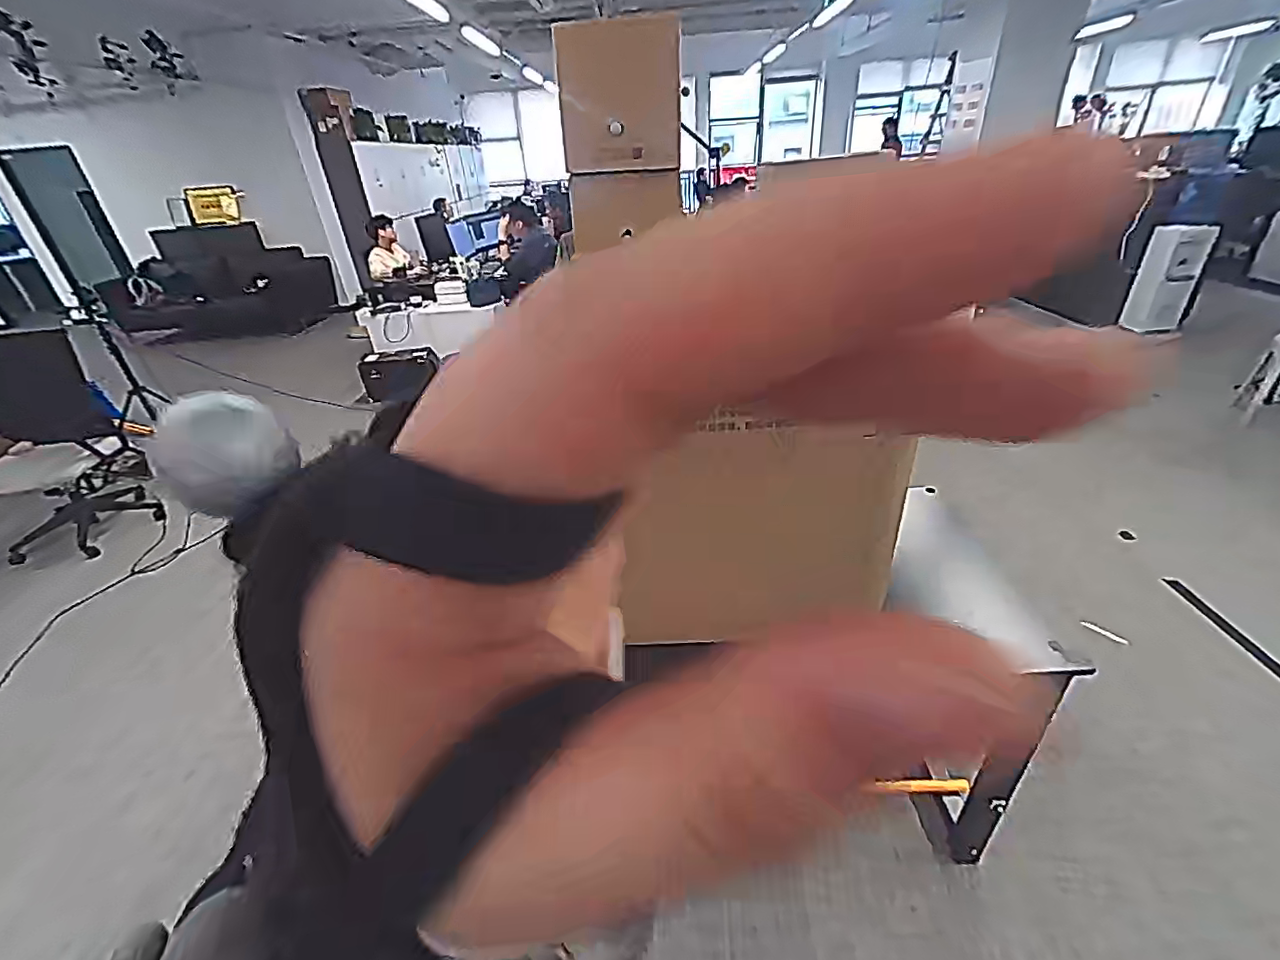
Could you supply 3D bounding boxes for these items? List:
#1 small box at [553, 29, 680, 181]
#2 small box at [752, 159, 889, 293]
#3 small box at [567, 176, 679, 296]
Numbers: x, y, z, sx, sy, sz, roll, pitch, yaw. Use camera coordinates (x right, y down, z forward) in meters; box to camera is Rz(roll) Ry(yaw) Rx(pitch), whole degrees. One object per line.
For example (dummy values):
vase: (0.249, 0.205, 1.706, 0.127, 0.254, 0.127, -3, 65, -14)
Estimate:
small box: (-0.026, -0.542, 0.803, 0.168, 0.176, 0.179, -1, 31, 3)
small box: (0.271, -0.400, 0.854, 0.168, 0.176, 0.179, -4, 31, 5)
small box: (-0.021, -0.408, 0.901, 0.168, 0.176, 0.179, -2, 31, 1)
